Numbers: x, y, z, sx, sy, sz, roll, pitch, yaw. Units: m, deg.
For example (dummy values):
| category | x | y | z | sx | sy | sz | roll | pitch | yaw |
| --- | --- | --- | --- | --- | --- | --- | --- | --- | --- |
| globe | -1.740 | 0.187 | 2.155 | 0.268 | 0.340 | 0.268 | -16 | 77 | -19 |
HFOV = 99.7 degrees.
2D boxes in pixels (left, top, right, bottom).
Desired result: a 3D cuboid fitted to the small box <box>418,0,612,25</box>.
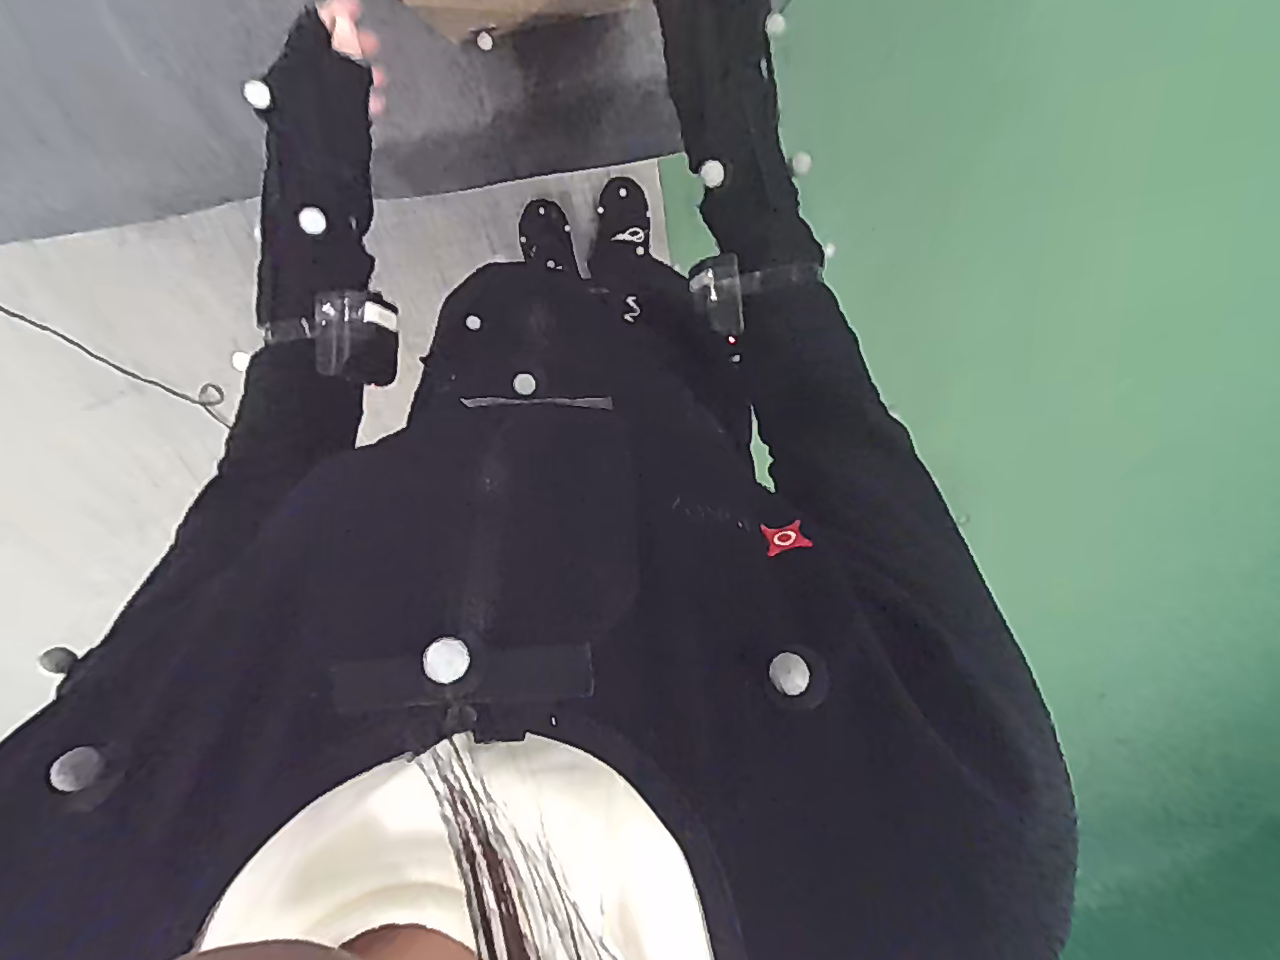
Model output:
| category | x | y | z | sx | sy | sz | roll | pitch | yaw |
| --- | --- | --- | --- | --- | --- | --- | --- | --- | --- |
| small box | -0.093 | -0.432 | 0.356 | 0.168 | 0.176 | 0.179 | -10 | 120 | 1 |
